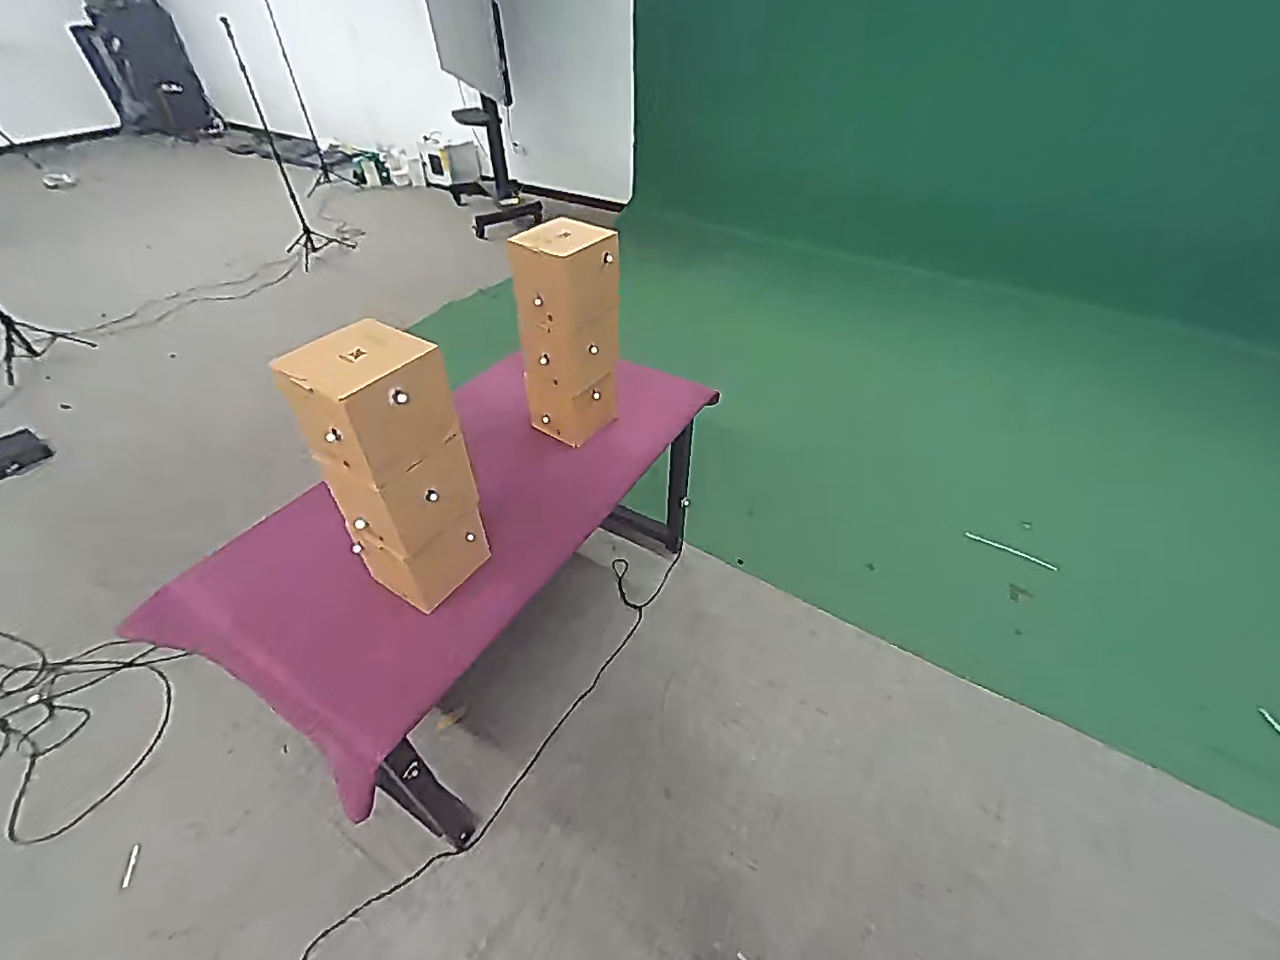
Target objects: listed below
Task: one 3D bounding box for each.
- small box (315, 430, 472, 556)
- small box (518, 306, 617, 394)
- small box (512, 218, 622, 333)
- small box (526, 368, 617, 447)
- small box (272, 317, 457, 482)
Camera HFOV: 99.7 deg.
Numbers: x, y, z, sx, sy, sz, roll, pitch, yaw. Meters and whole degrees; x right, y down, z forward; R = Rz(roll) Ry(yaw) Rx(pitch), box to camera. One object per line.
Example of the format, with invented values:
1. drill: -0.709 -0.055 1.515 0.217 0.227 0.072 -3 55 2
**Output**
1. small box: -0.416 -0.002 0.949 0.168 0.176 0.179 24 48 22
2. small box: -0.165 -0.334 1.312 0.168 0.176 0.179 28 51 25
3. small box: -0.156 -0.455 1.199 0.168 0.176 0.179 27 50 25
4. small box: -0.178 -0.220 1.430 0.168 0.176 0.179 28 50 25
5. small box: -0.412 -0.125 0.841 0.168 0.176 0.179 25 47 22
